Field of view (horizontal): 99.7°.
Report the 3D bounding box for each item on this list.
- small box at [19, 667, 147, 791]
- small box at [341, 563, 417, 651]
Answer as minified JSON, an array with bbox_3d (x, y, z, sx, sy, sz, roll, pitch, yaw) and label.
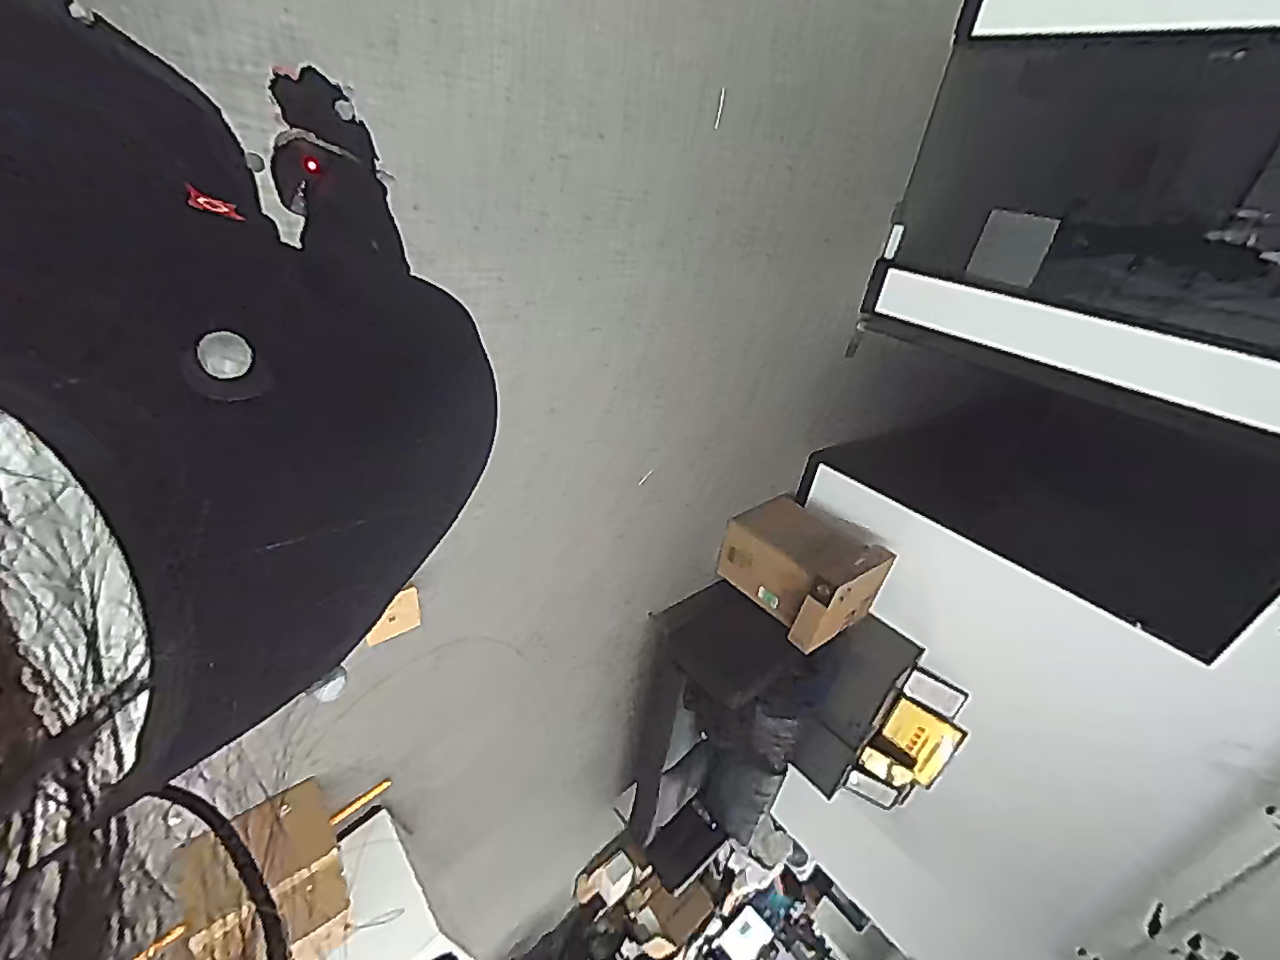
[{"bbox_3d":[-1.343,0.595,1.311,0.179,0.176,0.168,-20,131,-38],"label":"small box"},{"bbox_3d":[-0.831,0.398,1.722,0.168,0.176,0.179,-20,131,-38],"label":"small box"}]
